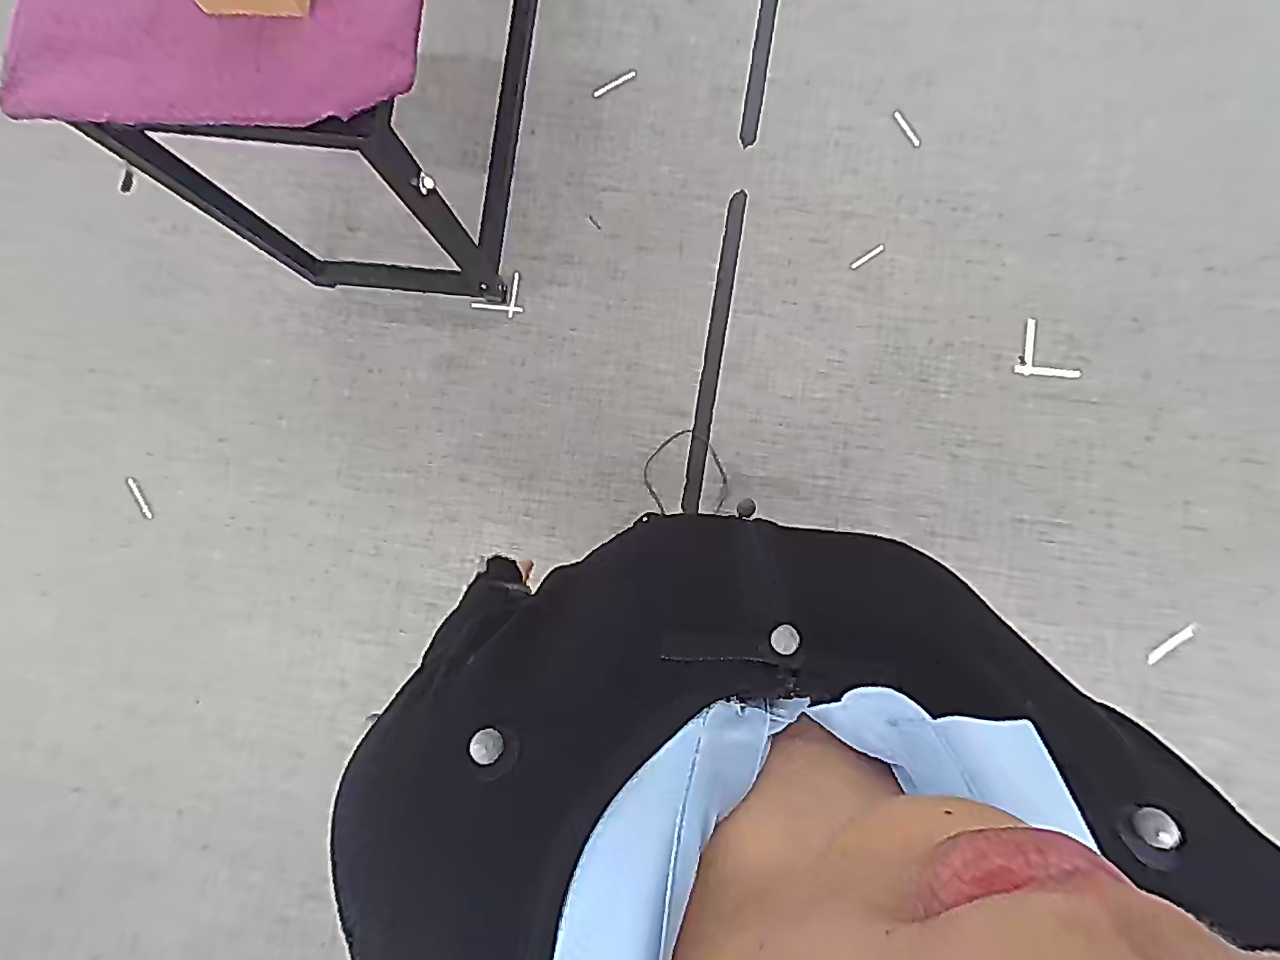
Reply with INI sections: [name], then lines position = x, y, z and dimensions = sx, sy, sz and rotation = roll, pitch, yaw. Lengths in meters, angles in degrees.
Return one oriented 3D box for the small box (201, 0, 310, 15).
[small box]
position = -0.607, -0.829, 0.787
dimensions = 0.179, 0.176, 0.168
rotation = 5, 86, 3
